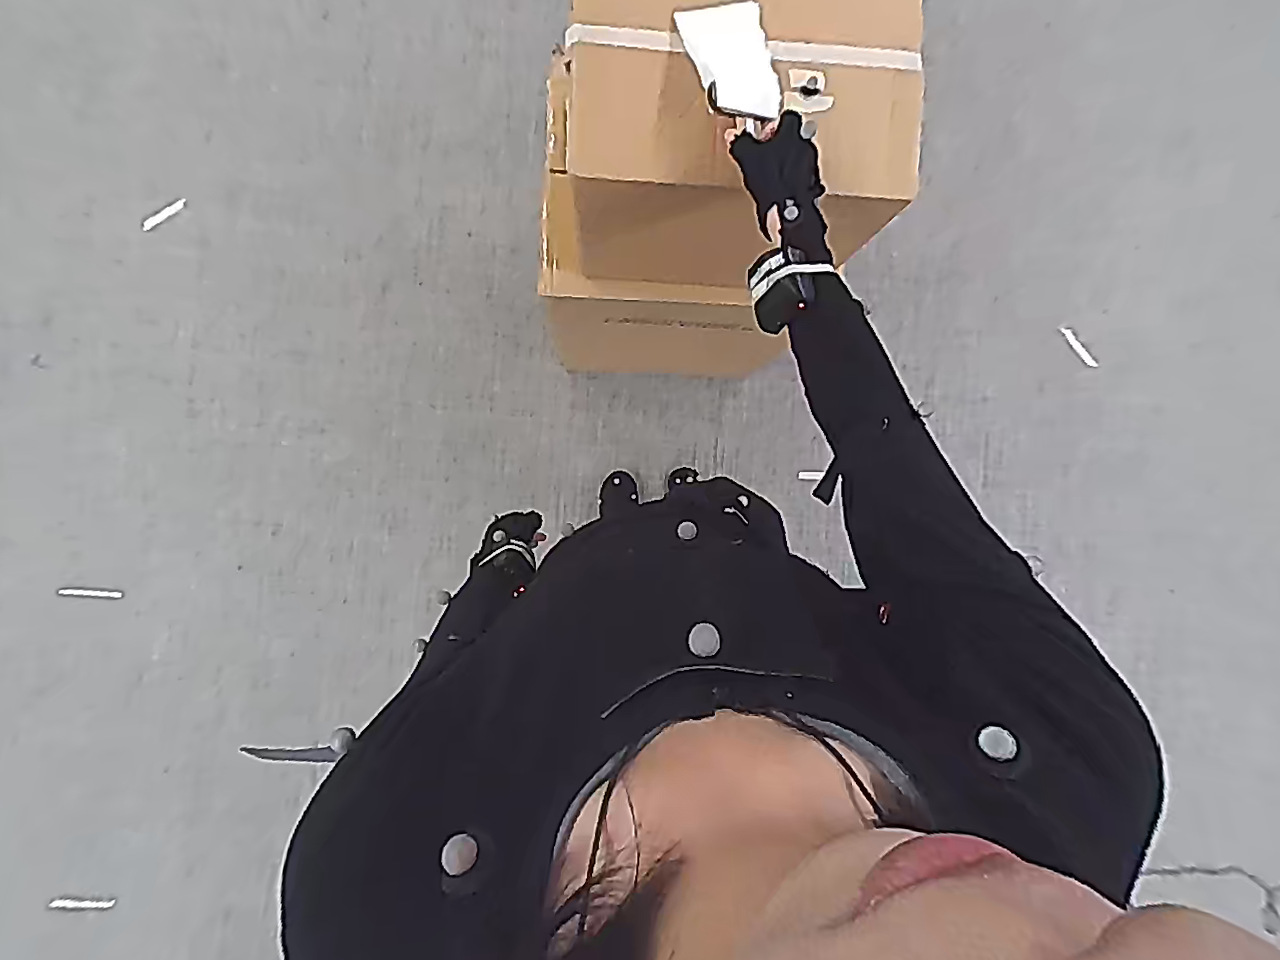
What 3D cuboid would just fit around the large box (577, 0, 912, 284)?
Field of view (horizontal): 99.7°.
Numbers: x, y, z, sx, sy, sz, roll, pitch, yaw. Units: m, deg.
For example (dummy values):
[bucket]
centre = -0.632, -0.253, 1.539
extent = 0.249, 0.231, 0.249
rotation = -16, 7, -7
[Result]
[large box]
centre = 0.113, -0.496, 0.782
extent = 0.408, 0.320, 0.320
rotation = 1, 90, -5
